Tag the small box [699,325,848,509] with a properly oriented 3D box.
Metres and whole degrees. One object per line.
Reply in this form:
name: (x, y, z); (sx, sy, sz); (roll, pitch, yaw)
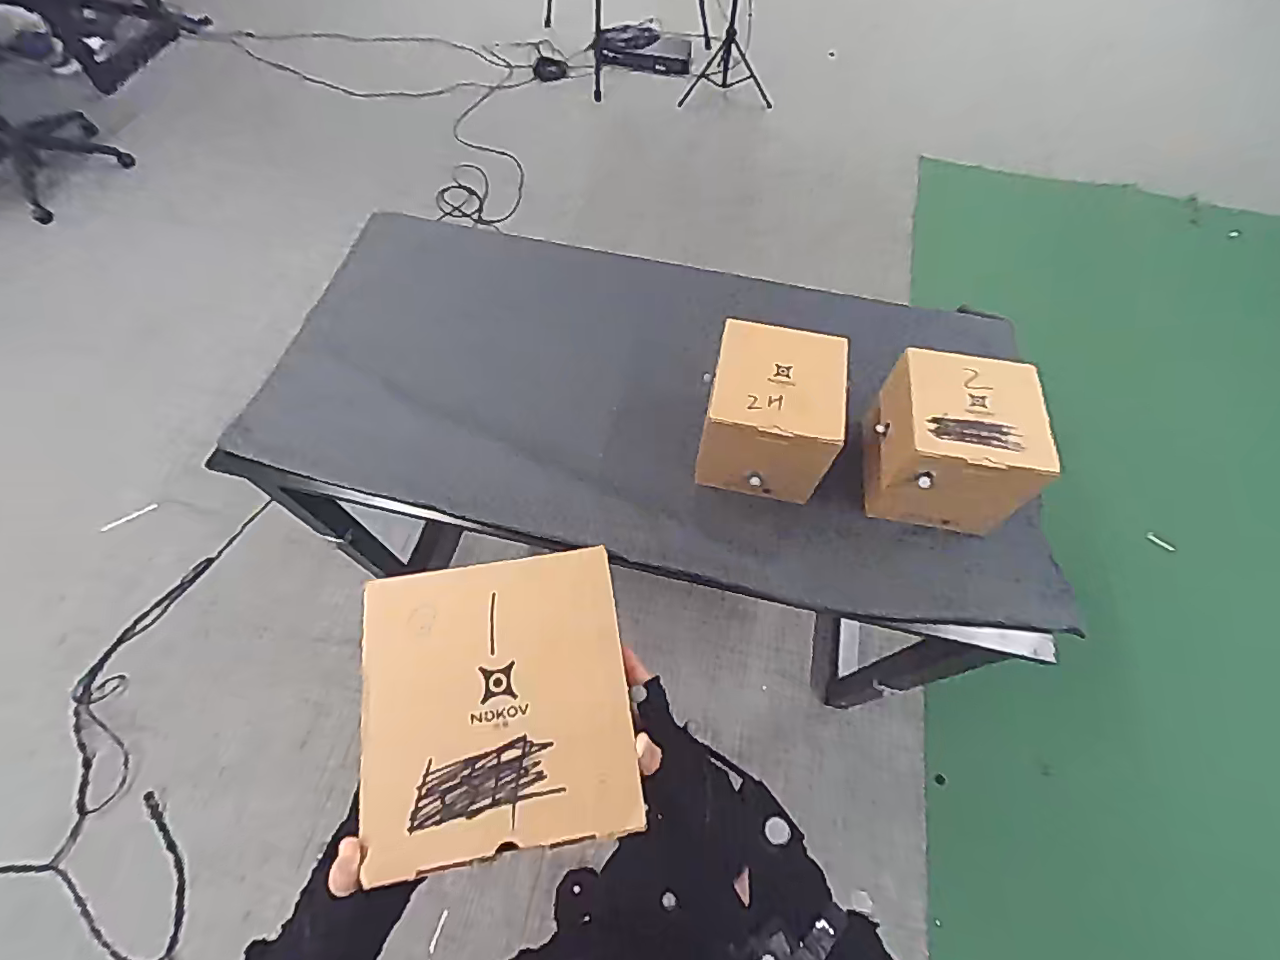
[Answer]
small box: (0.182, -0.084, 0.763); (0.168, 0.176, 0.179); (11, 61, 6)
